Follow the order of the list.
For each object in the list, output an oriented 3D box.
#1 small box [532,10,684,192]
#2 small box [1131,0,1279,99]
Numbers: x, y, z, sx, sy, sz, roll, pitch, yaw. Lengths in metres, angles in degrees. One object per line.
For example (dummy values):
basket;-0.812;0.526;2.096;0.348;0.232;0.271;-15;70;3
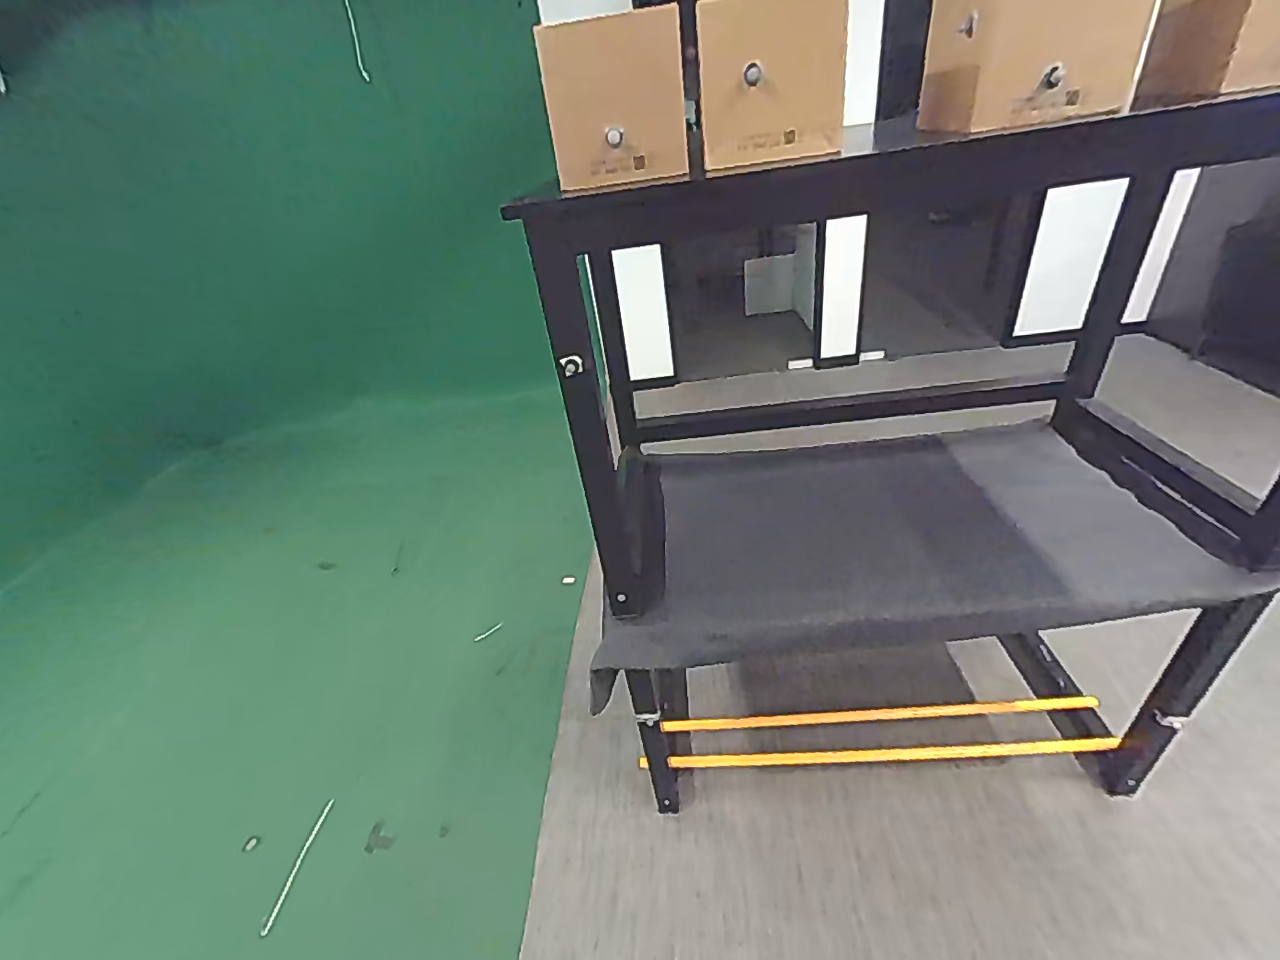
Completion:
small box;-0.032;-0.490;0.718;0.168;0.176;0.179;-6;33;4
small box;0.722;-0.550;0.615;0.168;0.176;0.179;-1;33;13
